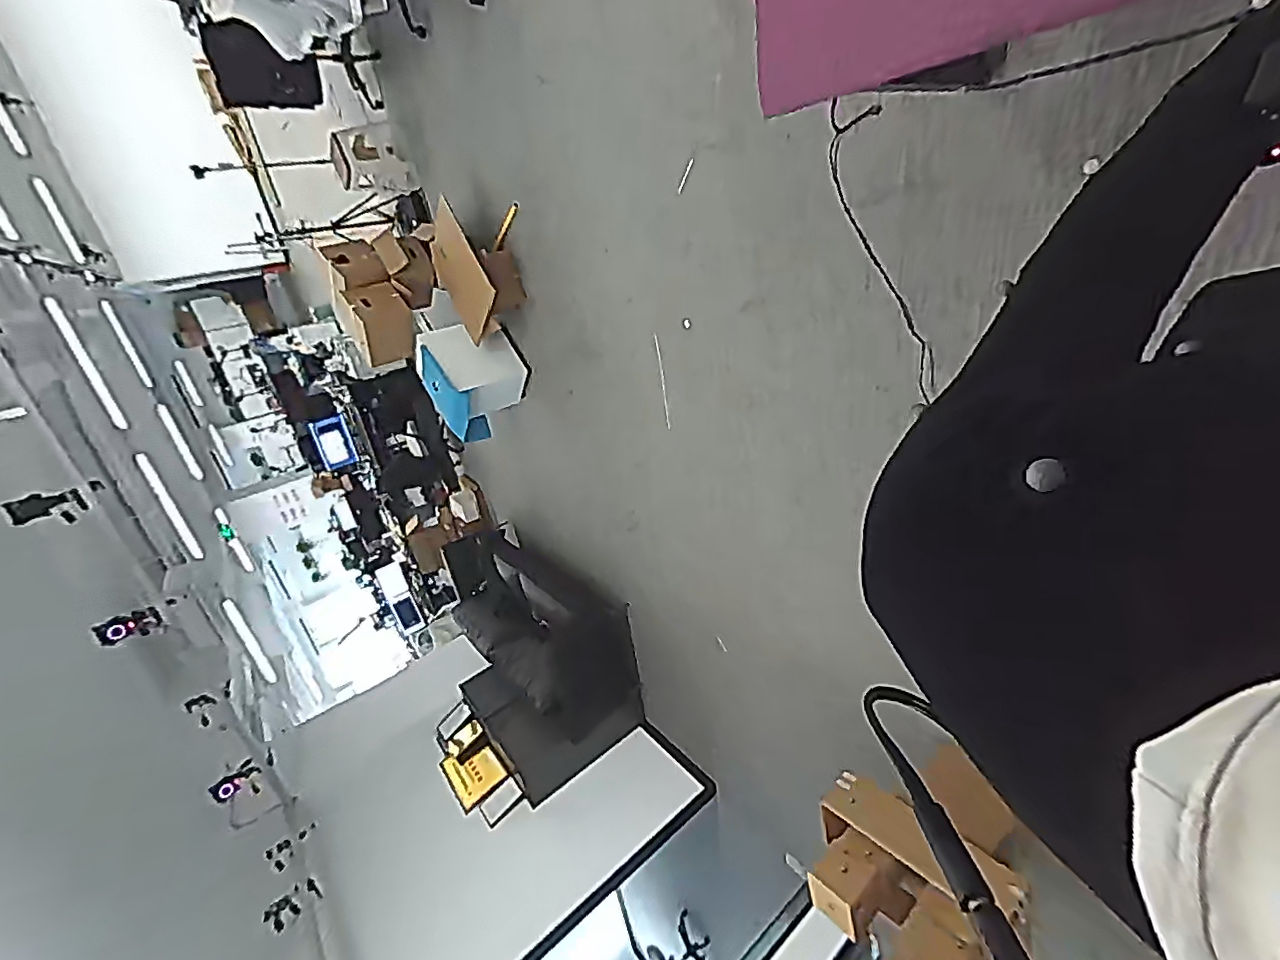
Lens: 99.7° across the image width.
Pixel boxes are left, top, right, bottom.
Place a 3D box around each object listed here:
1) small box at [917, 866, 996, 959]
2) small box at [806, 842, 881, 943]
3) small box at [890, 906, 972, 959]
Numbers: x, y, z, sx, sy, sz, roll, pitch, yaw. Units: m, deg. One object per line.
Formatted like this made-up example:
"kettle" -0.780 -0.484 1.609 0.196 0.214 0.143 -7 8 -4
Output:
"small box" 0.992 1.375 1.695 0.168 0.176 0.179 13 123 52
"small box" 0.690 1.382 1.828 0.168 0.176 0.179 10 120 54
"small box" 0.865 1.436 1.611 0.168 0.176 0.179 18 128 50
